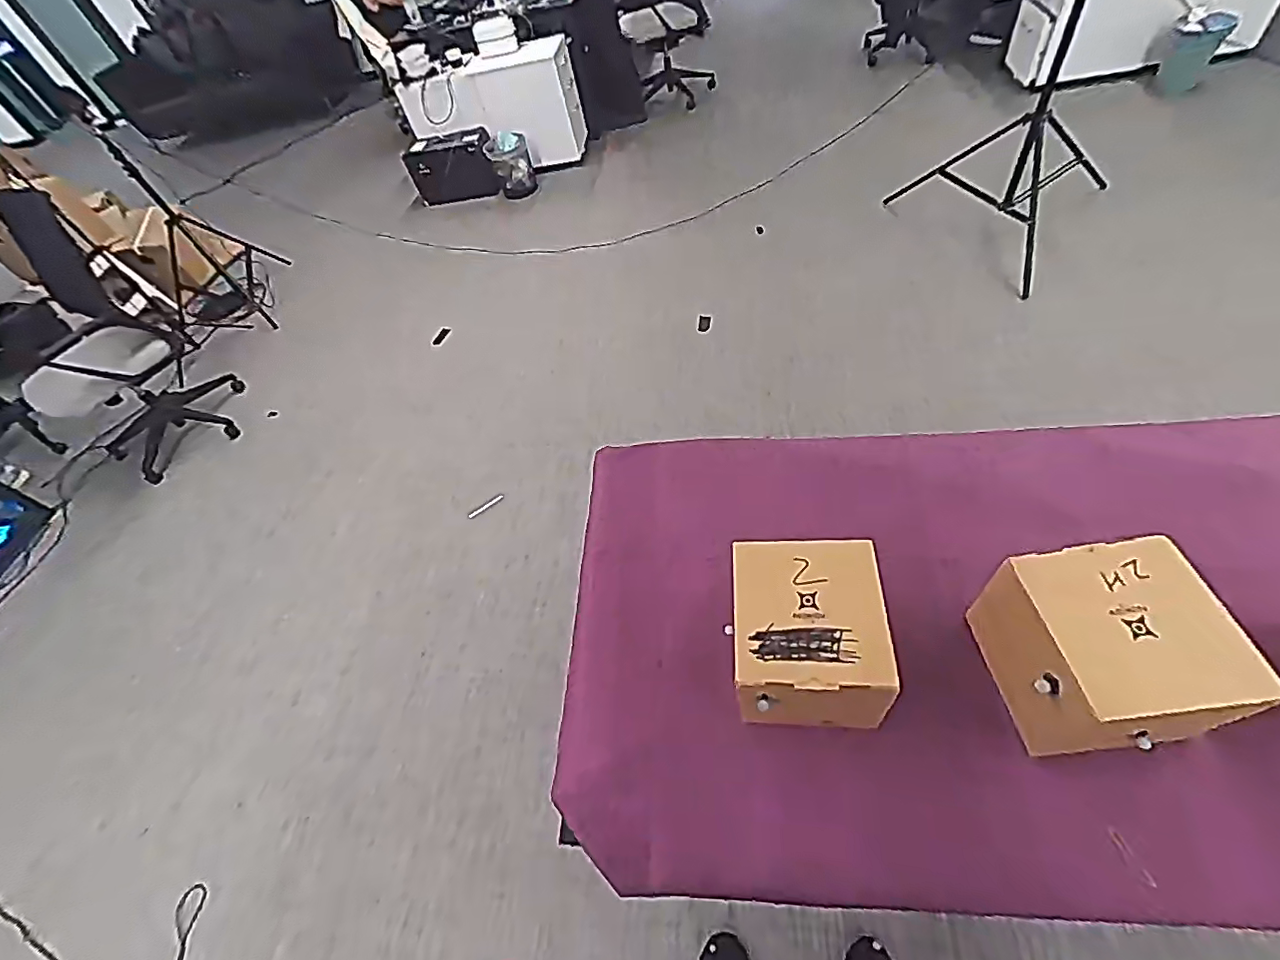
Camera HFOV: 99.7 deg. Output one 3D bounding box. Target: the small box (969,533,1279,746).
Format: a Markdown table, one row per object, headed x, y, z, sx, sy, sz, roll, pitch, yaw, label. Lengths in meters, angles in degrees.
| x | y | z | sx | sy | sz | roll | pitch | yaw | label |
| --- | --- | --- | --- | --- | --- | --- | --- | --- | --- |
| 0.506 | 0.185 | 0.601 | 0.168 | 0.176 | 0.179 | -10 | 51 | 6 | small box |
